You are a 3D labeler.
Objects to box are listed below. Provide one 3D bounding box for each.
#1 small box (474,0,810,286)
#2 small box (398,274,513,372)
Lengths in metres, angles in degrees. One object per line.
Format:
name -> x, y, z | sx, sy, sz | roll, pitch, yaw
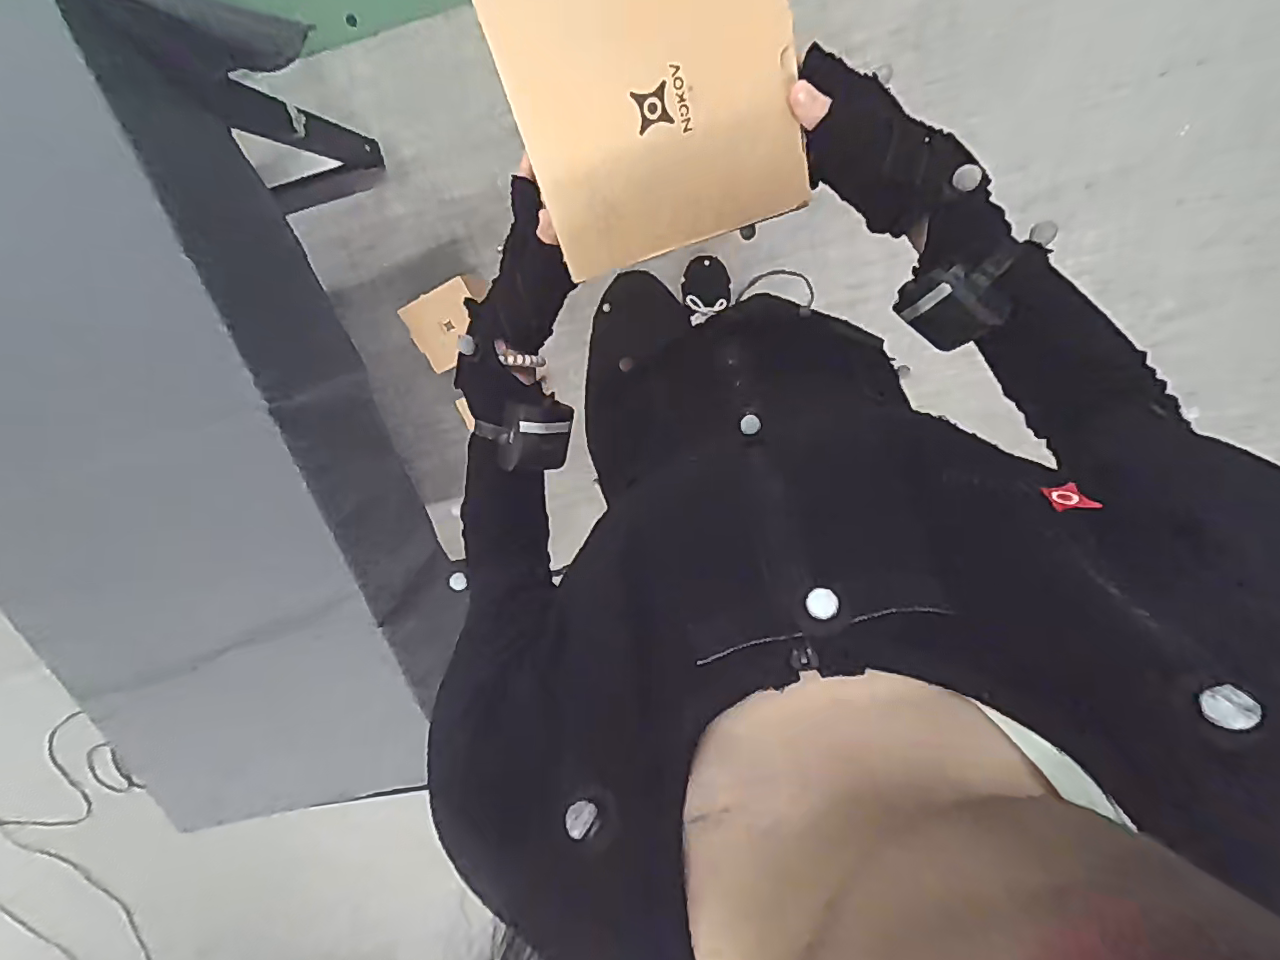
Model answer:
small box -> 0.004, -0.264, 0.399 | 0.179, 0.176, 0.168 | -18, 122, 3
small box -> -0.435, -0.383, 1.309 | 0.179, 0.176, 0.168 | -23, 110, 12
